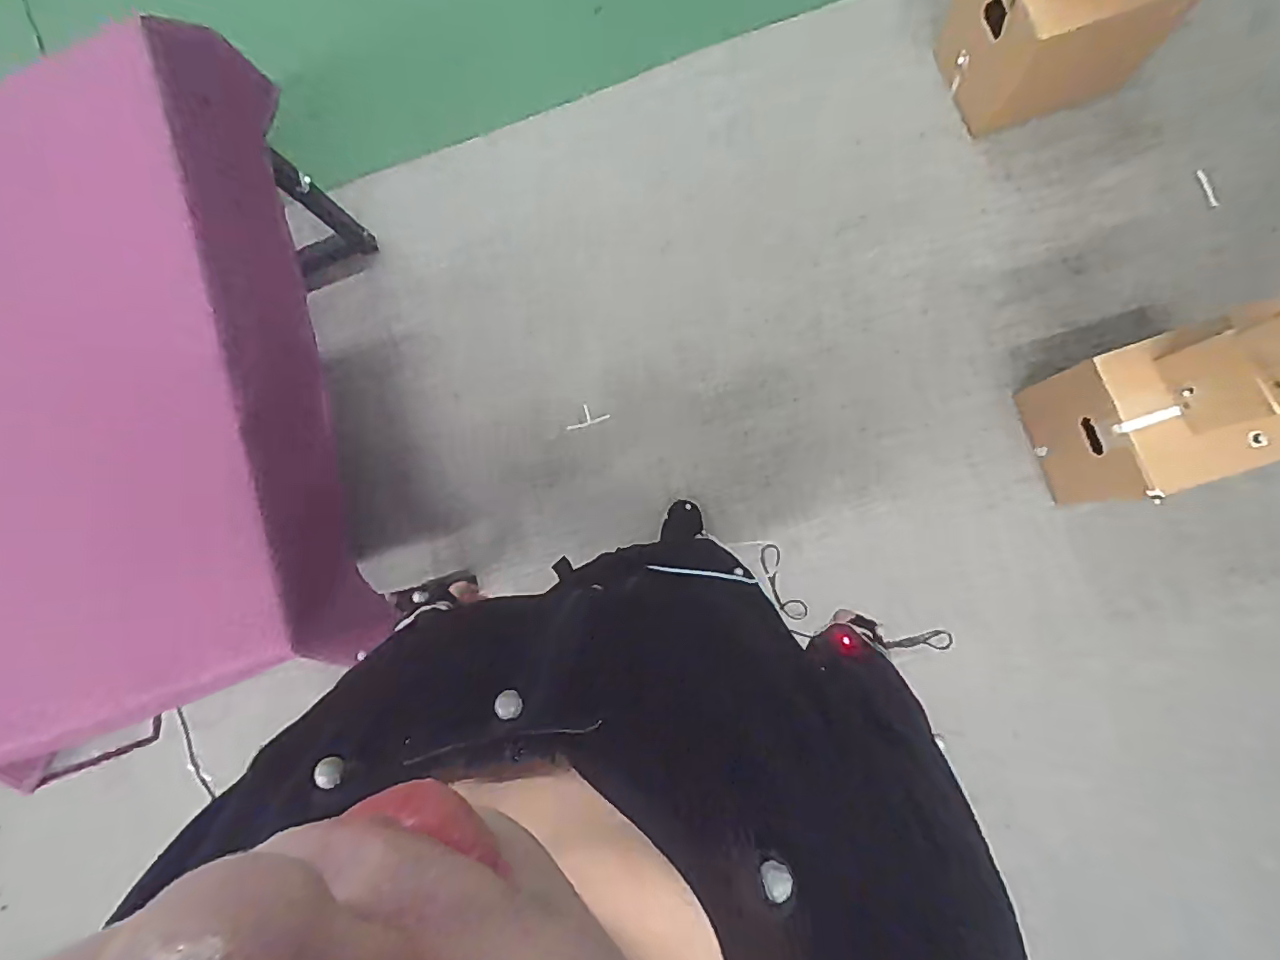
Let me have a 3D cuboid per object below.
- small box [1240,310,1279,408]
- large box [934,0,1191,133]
[{"bbox_3d":[1.122,-0.225,0.846,0.179,0.176,0.168,-26,81,5],"label":"small box"},{"bbox_3d":[1.046,-1.172,1.353,0.408,0.320,0.320,-18,83,4],"label":"large box"}]
